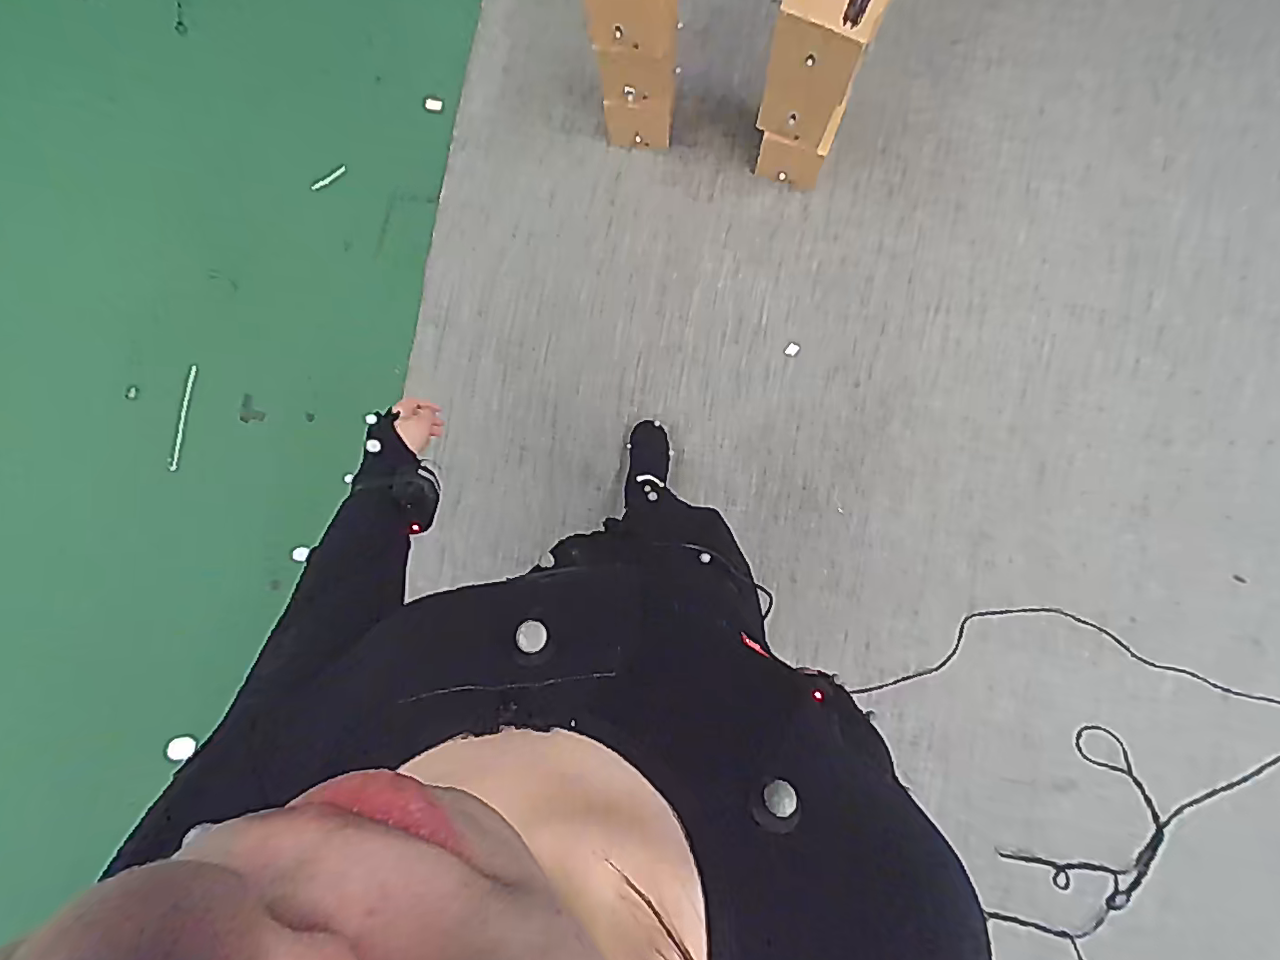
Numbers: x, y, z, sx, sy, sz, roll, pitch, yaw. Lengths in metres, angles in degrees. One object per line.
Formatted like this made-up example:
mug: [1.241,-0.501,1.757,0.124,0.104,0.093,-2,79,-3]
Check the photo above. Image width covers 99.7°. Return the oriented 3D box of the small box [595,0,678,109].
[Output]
small box: [-0.003,-1.014,1.262,0.168,0.176,0.179,7,89,4]

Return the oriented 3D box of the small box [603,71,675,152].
small box: [0.001,-1.006,1.424,0.168,0.176,0.179,6,89,4]

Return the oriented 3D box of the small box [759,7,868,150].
small box: [0.383,-0.902,1.234,0.168,0.176,0.179,24,91,4]

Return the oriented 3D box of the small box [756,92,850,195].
small box: [0.409,-0.882,1.395,0.168,0.176,0.179,20,91,4]
